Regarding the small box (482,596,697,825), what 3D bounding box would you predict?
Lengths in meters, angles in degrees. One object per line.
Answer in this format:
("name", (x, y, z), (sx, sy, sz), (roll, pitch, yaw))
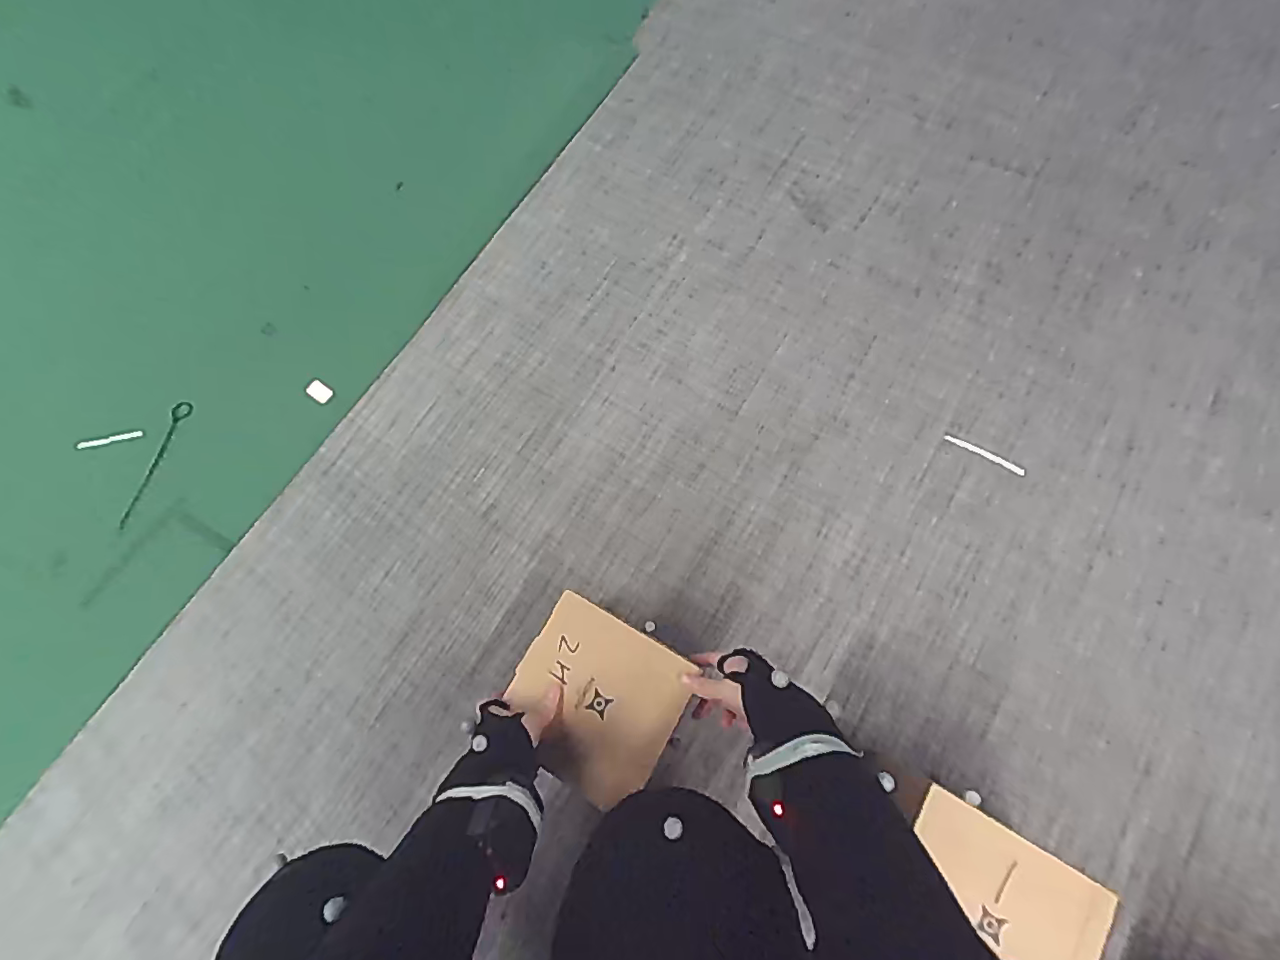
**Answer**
("small box", (-0.045, 0.257, 0.642), (0.179, 0.176, 0.168), (28, 77, 15))
